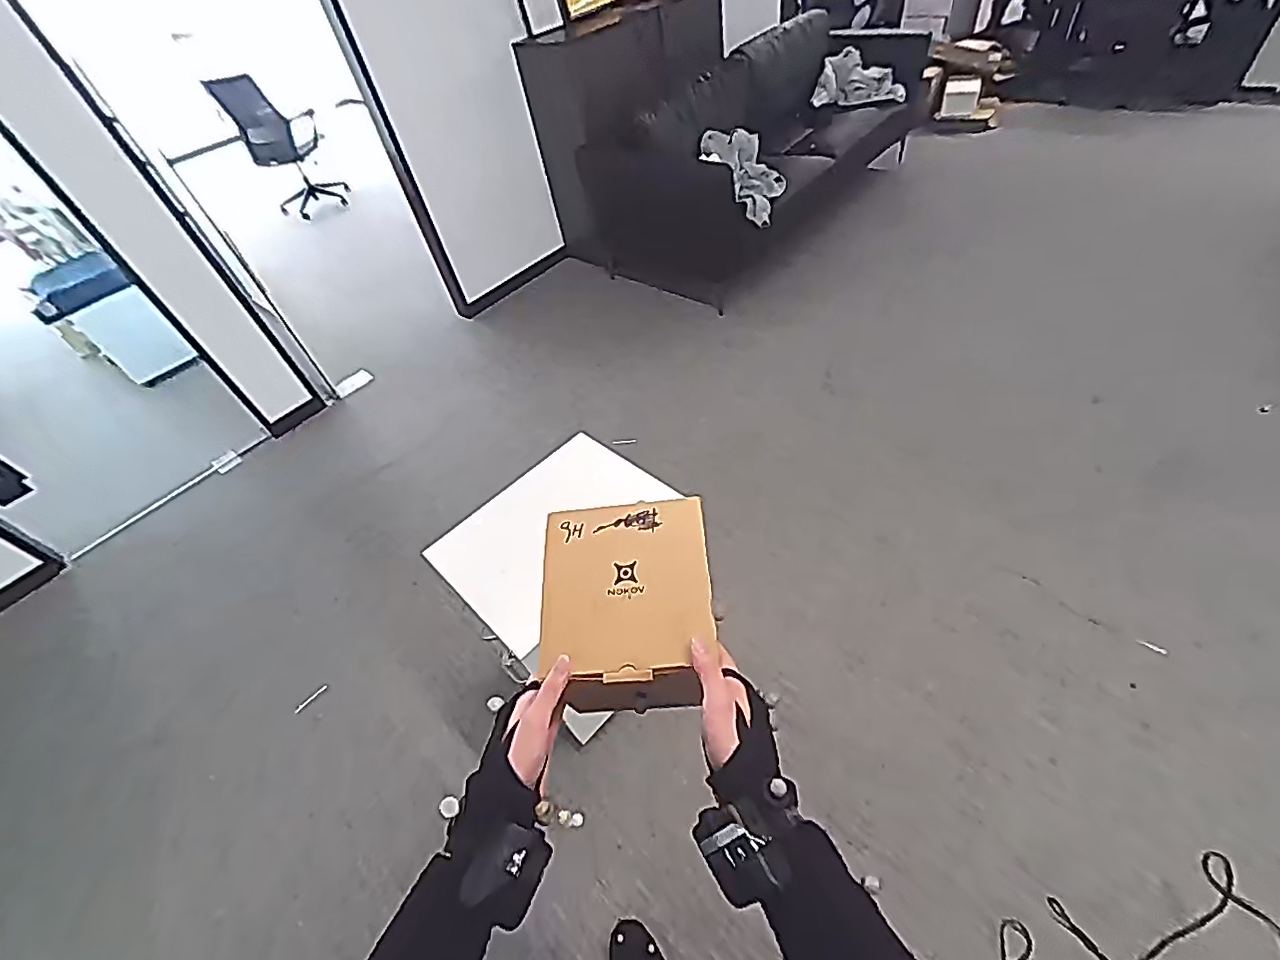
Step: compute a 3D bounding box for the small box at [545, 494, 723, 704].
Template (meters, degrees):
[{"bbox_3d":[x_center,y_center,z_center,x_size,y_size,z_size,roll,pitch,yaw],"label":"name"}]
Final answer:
[{"bbox_3d":[-0.001,0.141,0.600,0.168,0.176,0.179,-8,56,4],"label":"small box"}]
